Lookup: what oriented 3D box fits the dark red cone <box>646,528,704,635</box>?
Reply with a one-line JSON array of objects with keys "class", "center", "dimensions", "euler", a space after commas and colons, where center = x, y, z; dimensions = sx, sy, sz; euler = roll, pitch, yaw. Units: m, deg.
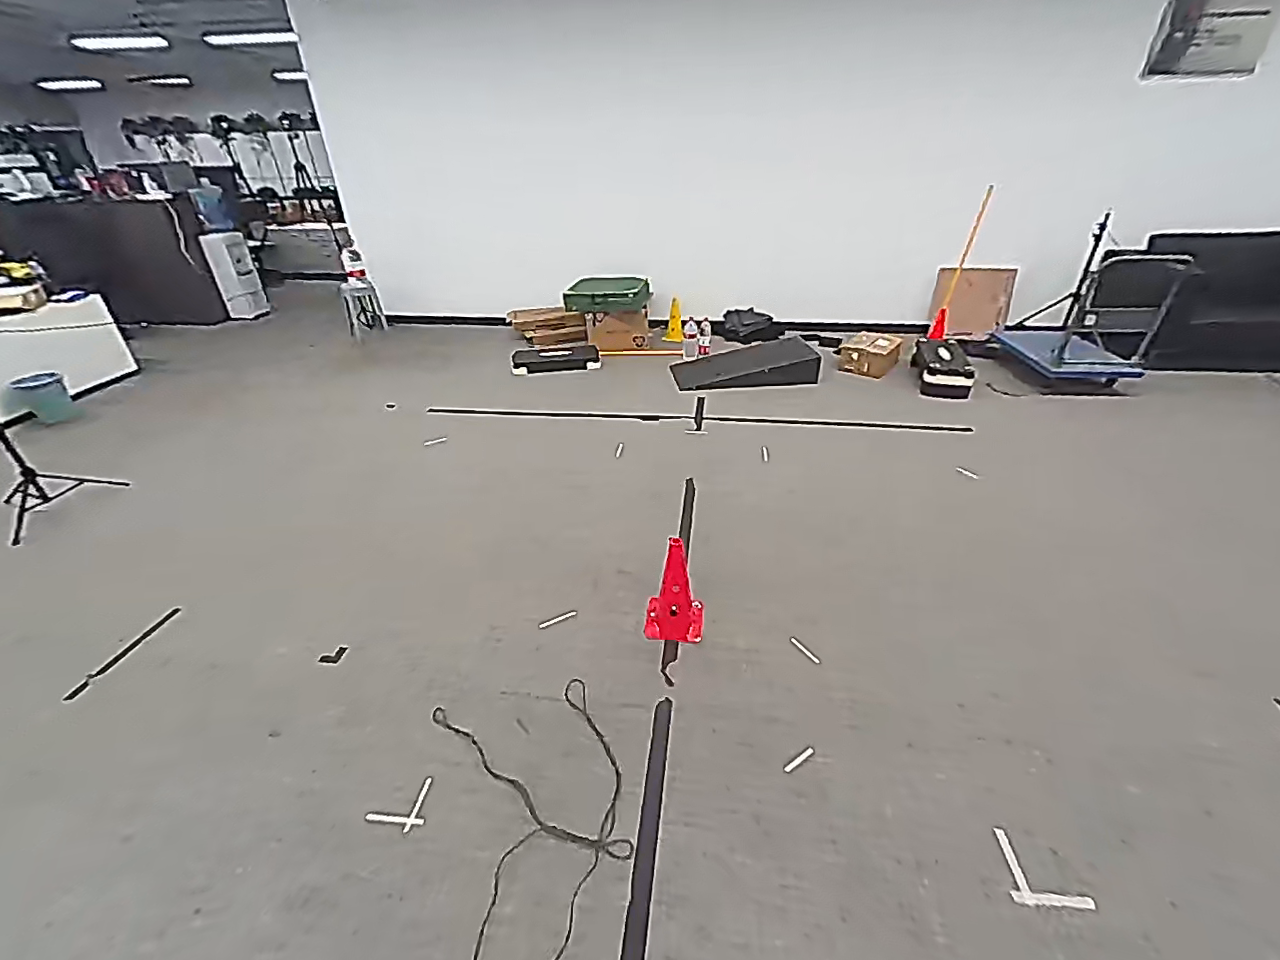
[{"class": "dark red cone", "center": [0.119, 0.327, 1.828], "dimensions": [0.201, 0.394, 0.202], "euler": [2, 32, 7]}]
